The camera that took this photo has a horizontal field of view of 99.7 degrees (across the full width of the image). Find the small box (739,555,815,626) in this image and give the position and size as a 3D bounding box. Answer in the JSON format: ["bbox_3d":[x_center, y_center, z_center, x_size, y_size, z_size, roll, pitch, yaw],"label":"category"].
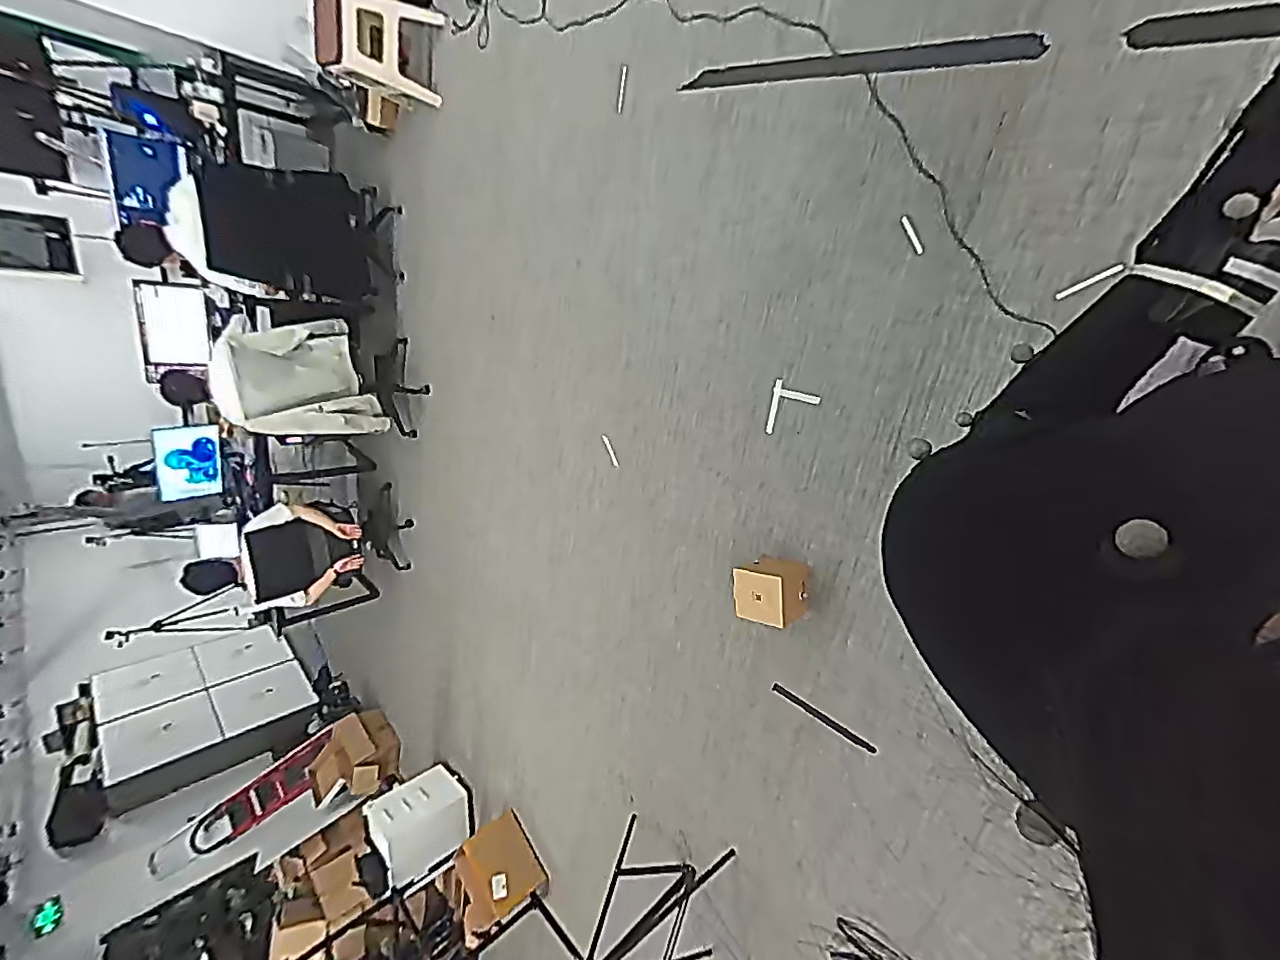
[{"bbox_3d":[0.436,0.343,1.721,0.179,0.176,0.168,3,102,44],"label":"small box"}]
